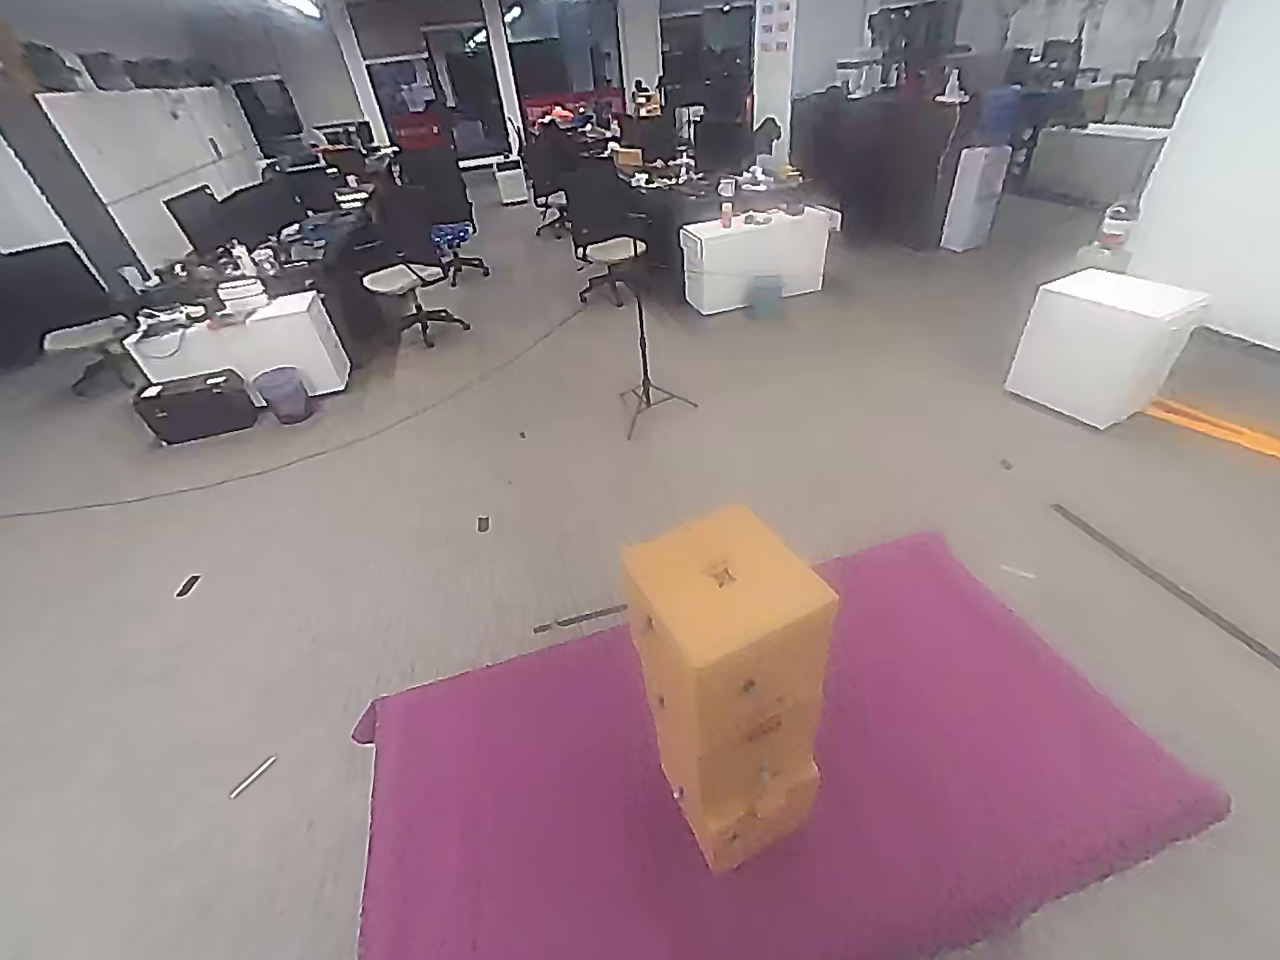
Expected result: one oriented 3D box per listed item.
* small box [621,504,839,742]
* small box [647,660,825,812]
[{"bbox_3d":[0.096,0.163,0.611,0.168,0.176,0.179,-21,38,-16],"label":"small box"},{"bbox_3d":[0.114,0.289,0.712,0.168,0.176,0.179,-19,39,-14],"label":"small box"}]
